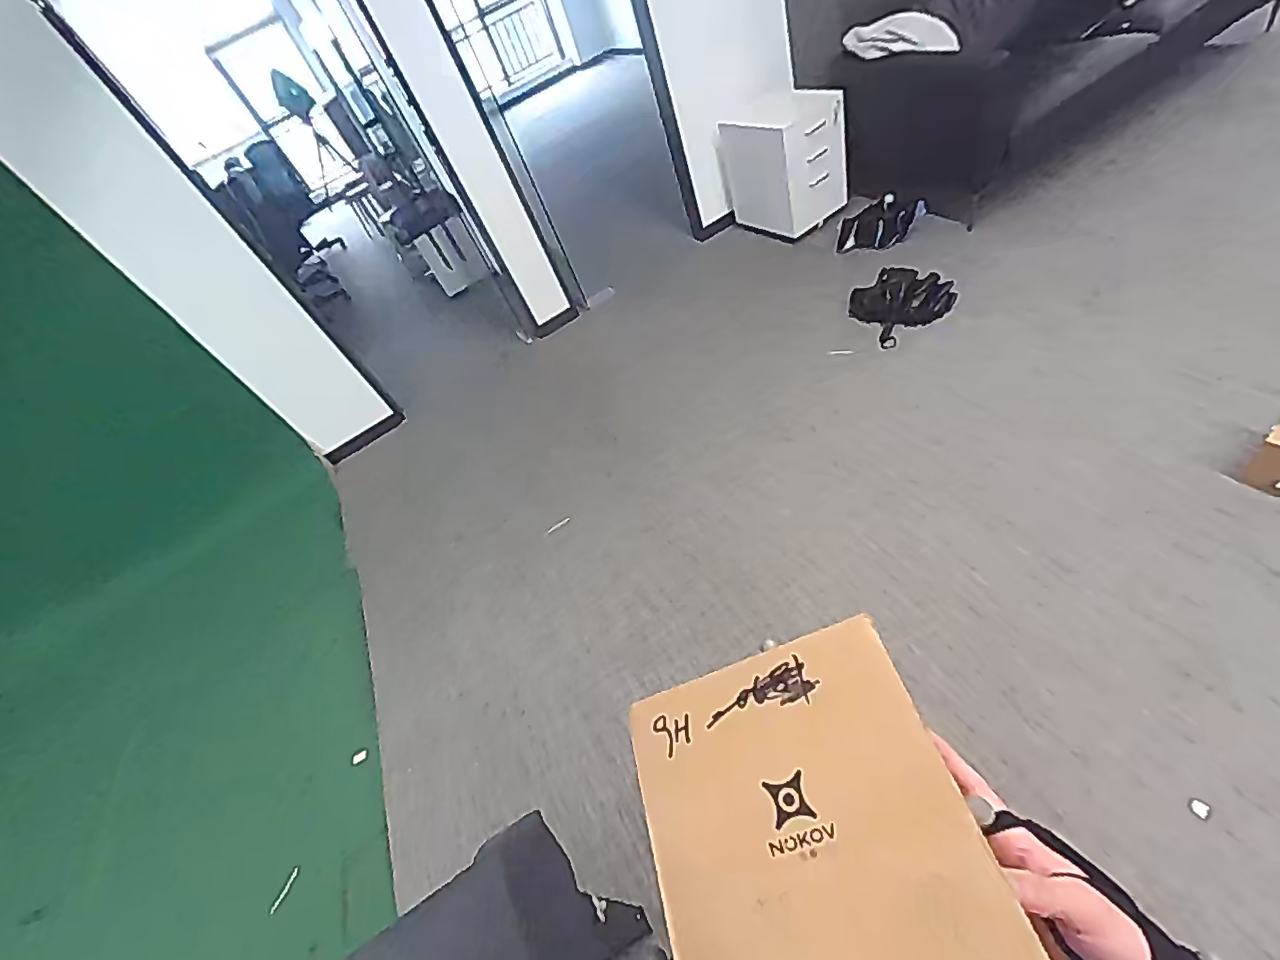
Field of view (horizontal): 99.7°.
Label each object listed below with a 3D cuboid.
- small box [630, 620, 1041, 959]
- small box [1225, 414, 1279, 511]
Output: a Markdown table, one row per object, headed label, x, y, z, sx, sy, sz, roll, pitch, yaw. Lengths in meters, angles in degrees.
| label | x | y | z | sx | sy | sz | roll | pitch | yaw |
| --- | --- | --- | --- | --- | --- | --- | --- | --- | --- |
| small box | 0.117 | 0.221 | 0.348 | 0.168 | 0.176 | 0.179 | -26 | 50 | 12 |
| small box | 1.707 | -0.044 | 1.416 | 0.179 | 0.176 | 0.168 | -38 | 45 | -11 |
